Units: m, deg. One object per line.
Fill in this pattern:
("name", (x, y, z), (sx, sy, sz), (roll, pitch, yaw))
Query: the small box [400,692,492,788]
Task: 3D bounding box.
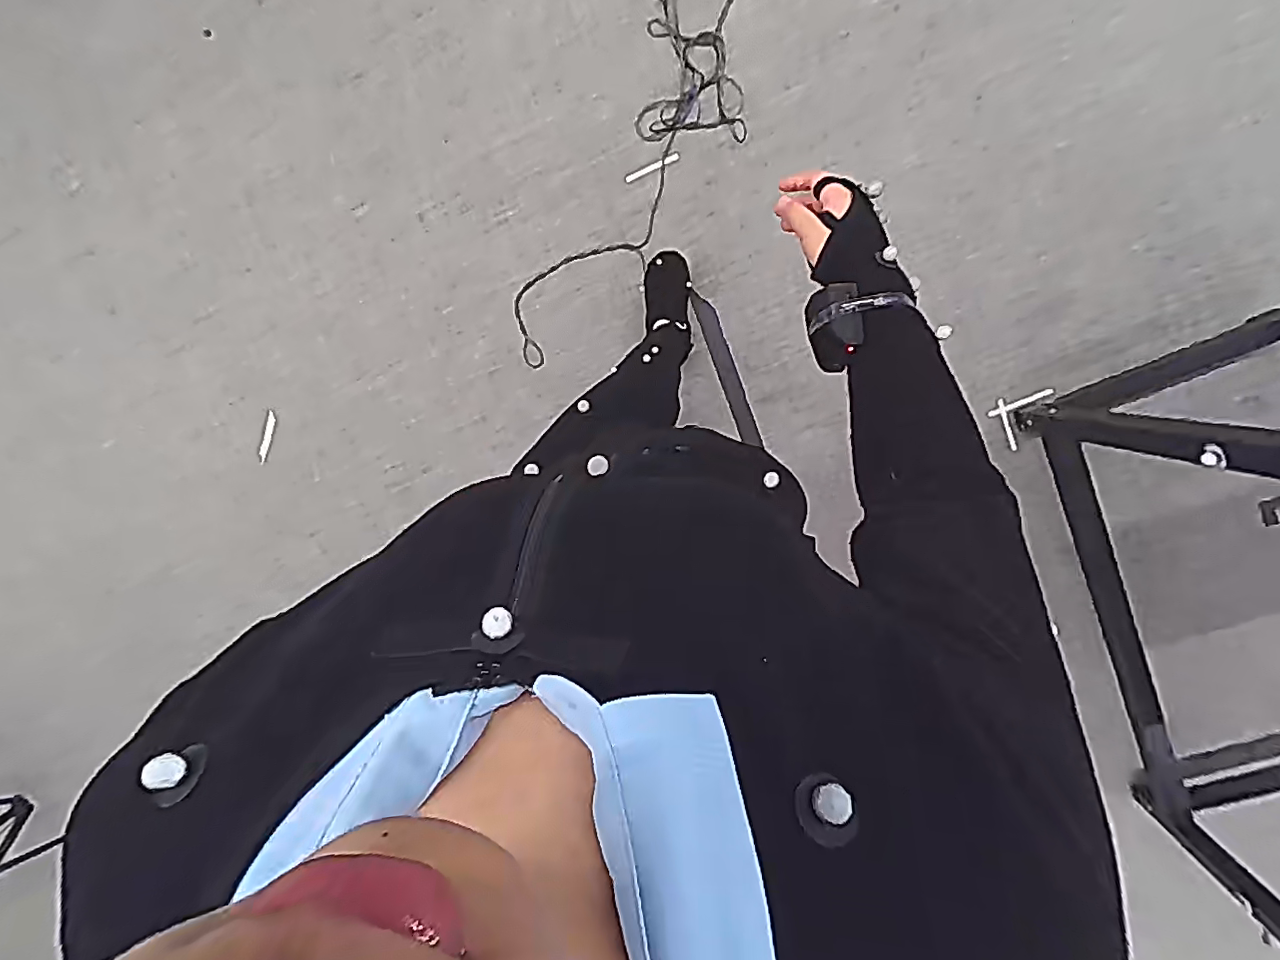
("small box", (-0.553, 0.751, 1.579), (0.179, 0.176, 0.168), (-23, 98, 10))
